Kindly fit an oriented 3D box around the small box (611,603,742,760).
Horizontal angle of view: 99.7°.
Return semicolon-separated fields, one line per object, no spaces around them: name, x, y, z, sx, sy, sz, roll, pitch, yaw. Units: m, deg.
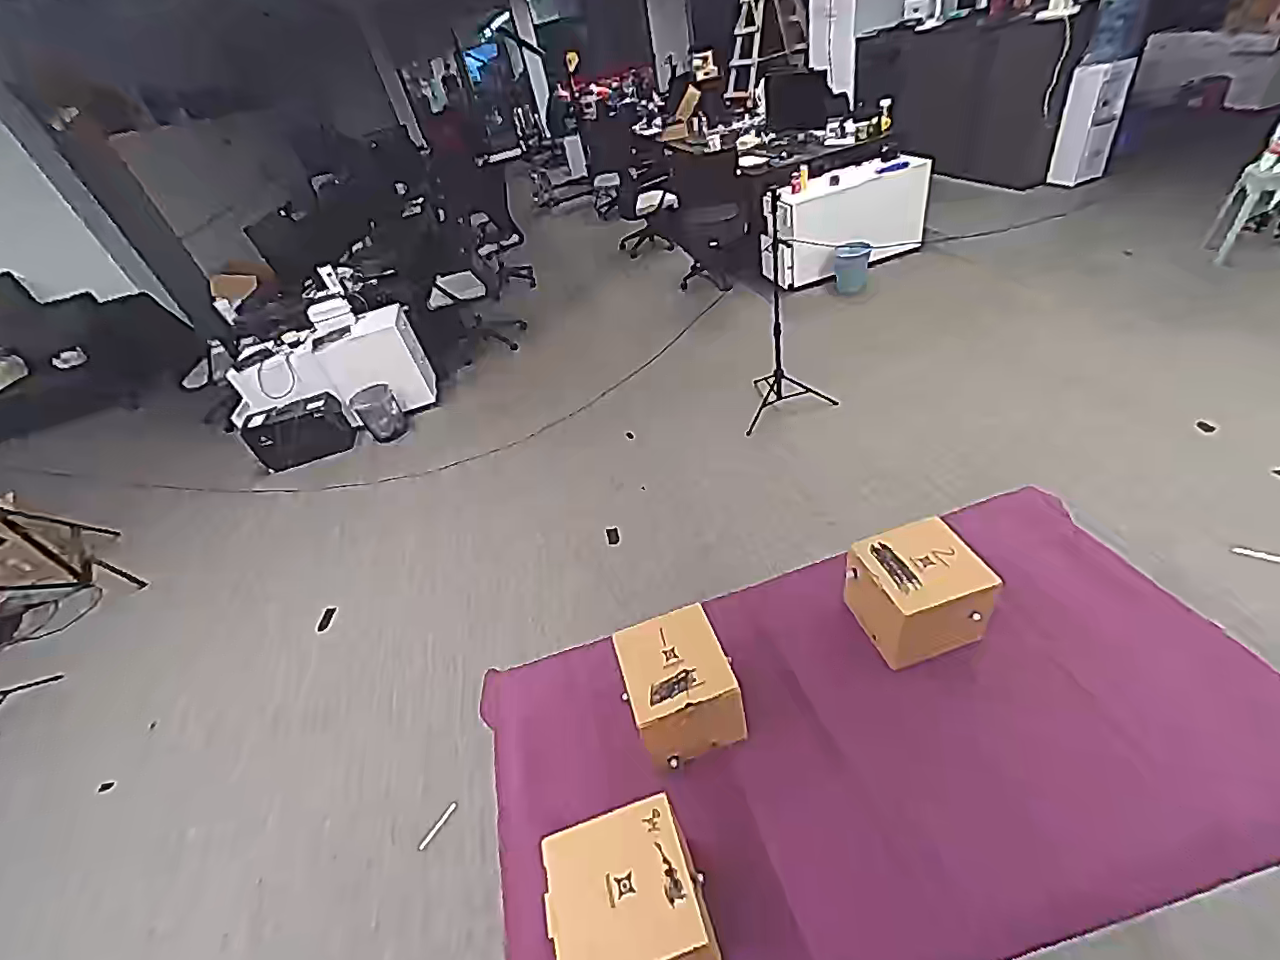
small box;0.064;0.350;0.925;0.168;0.176;0.179;-19;39;-5

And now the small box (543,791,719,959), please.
small box;-0.011;0.551;0.708;0.179;0.176;0.168;-19;40;-4
